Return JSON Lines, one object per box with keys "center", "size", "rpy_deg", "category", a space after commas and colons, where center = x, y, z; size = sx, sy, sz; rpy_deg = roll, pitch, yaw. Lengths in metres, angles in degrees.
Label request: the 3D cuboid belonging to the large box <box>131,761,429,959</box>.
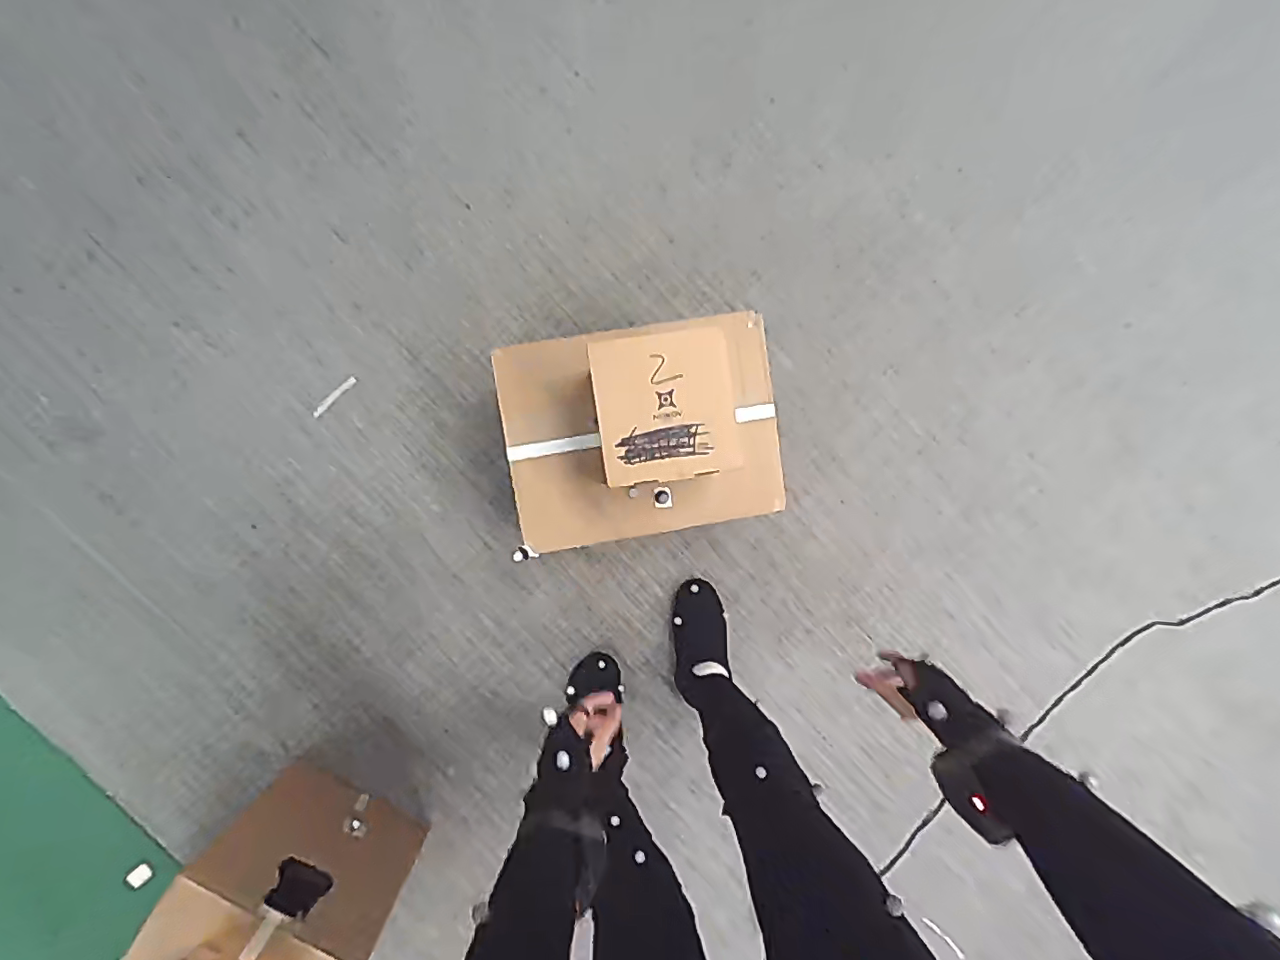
{"center": [-0.650, 0.814, 0.958], "size": [0.320, 0.320, 0.408], "rpy_deg": [33, 91, -2], "category": "large box"}
